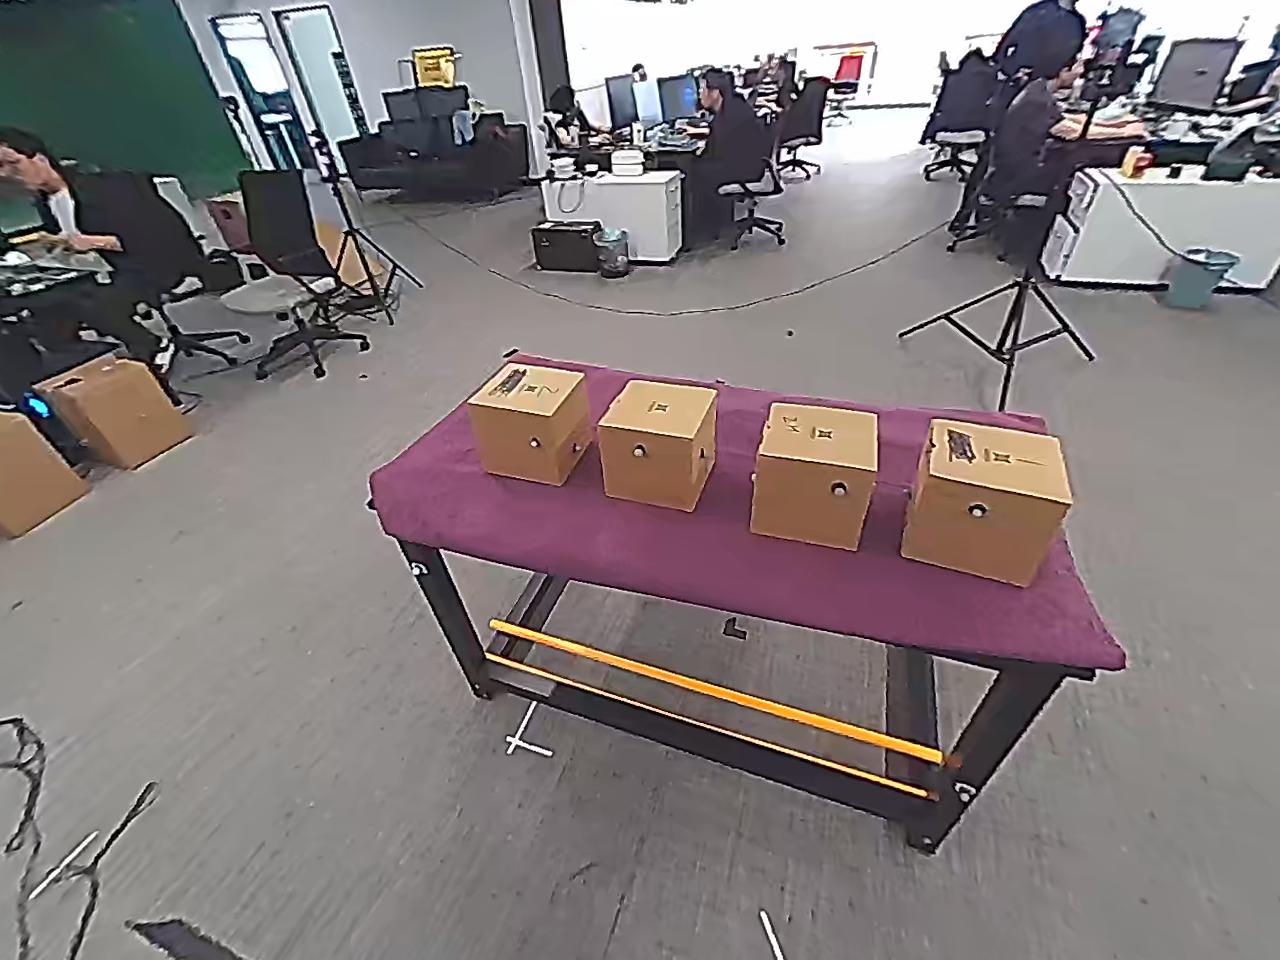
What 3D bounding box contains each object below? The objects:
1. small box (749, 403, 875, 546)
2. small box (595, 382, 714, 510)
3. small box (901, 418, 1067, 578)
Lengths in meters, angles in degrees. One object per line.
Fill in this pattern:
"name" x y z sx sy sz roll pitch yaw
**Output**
"small box" 0.288 -0.010 0.915 0.179 0.176 0.168 9 39 17
"small box" 0.036 -0.064 1.018 0.179 0.176 0.168 9 41 18
"small box" 0.520 0.027 0.840 0.179 0.176 0.168 13 41 22
